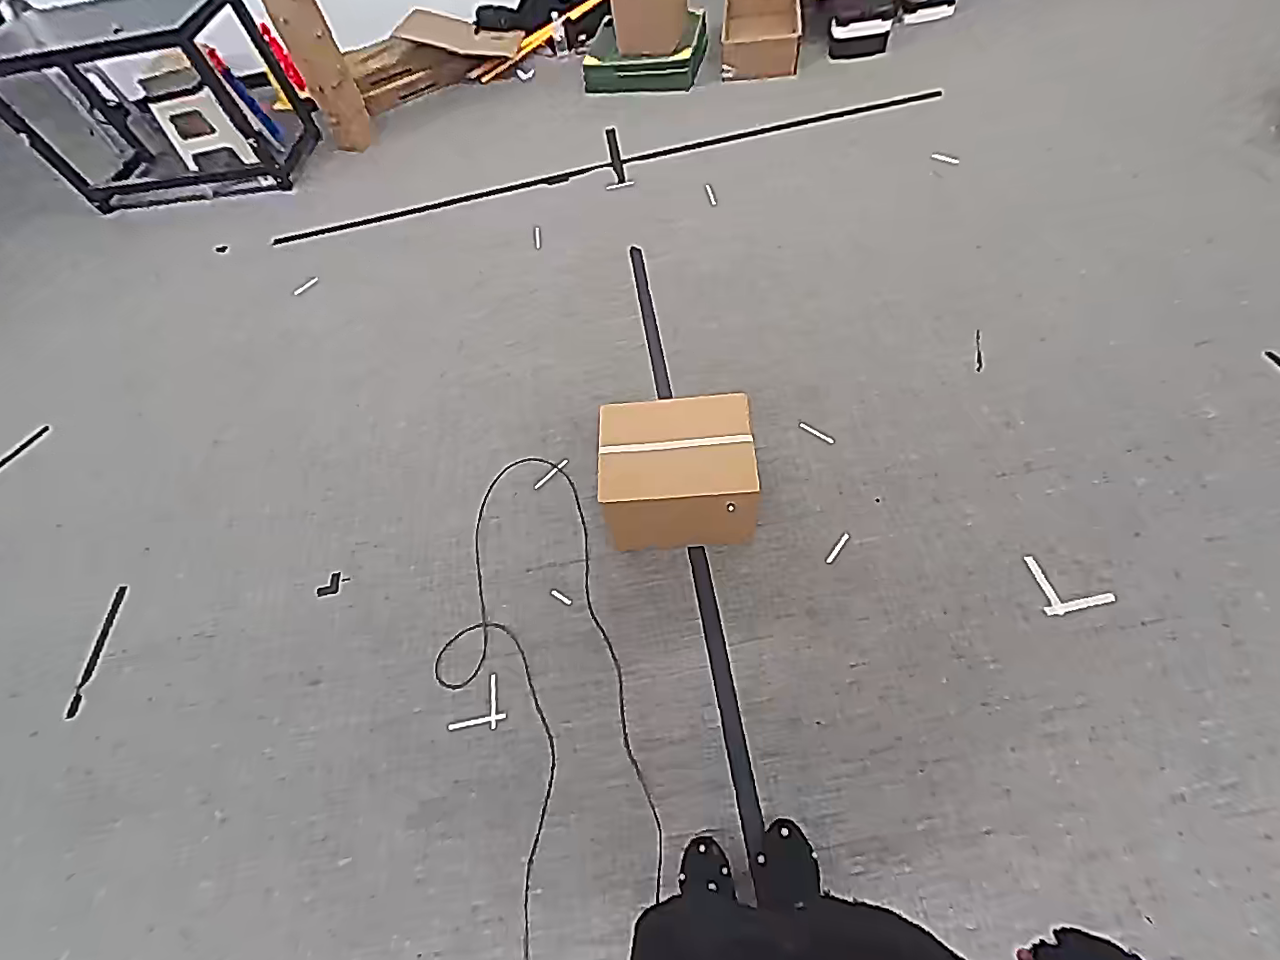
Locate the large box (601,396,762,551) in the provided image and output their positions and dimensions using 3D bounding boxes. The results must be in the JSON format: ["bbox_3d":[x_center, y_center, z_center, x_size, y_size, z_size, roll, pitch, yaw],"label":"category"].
[{"bbox_3d":[0.113,-0.006,1.532,0.408,0.320,0.320,-4,59,5],"label":"large box"}]
